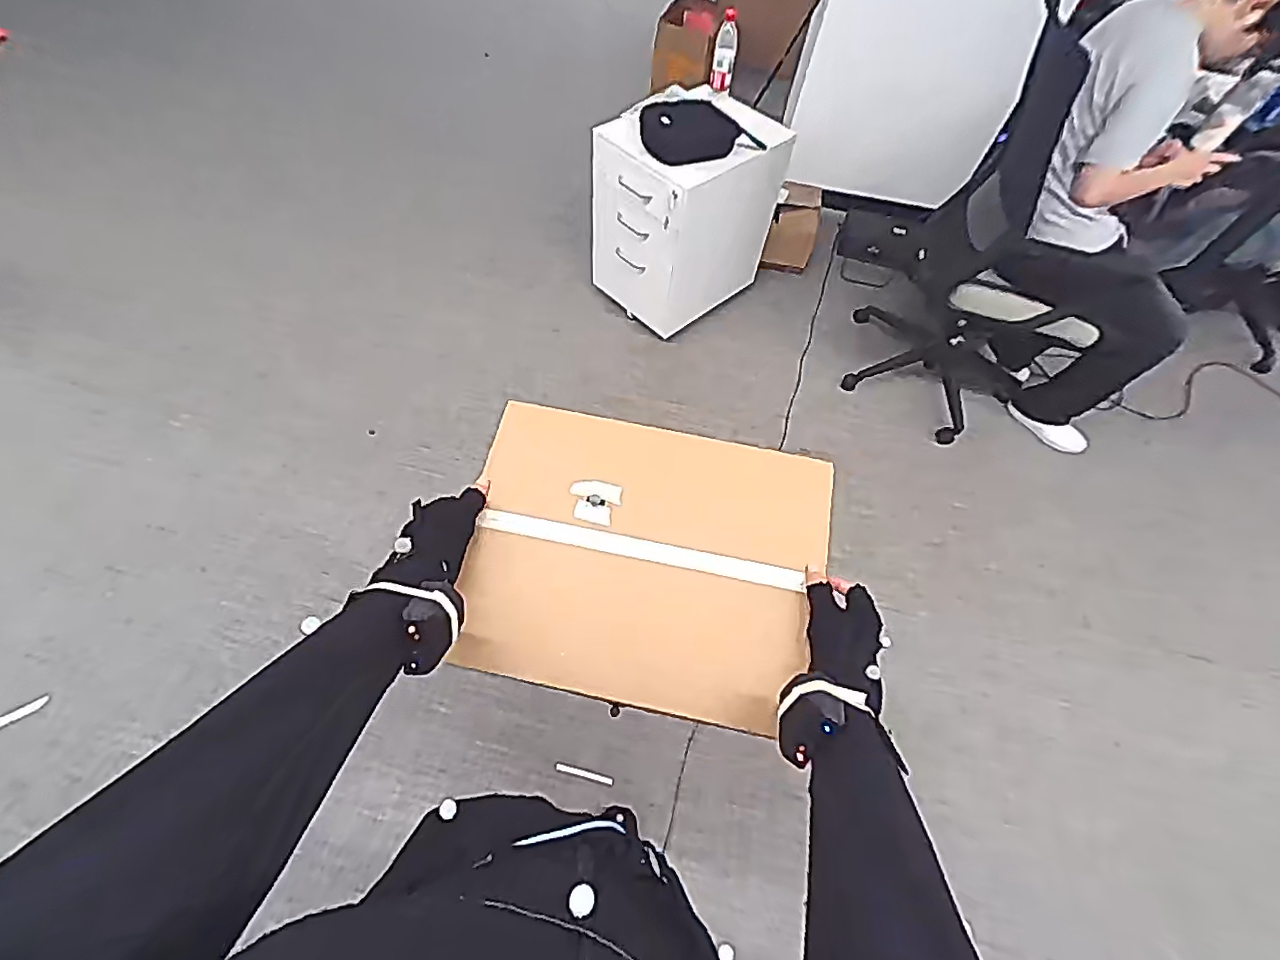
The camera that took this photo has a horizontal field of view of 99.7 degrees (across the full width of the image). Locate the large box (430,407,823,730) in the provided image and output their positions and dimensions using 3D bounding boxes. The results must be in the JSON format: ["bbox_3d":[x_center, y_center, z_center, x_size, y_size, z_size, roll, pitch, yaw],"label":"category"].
[{"bbox_3d":[0.001,0.136,0.751,0.408,0.320,0.320,11,67,5],"label":"large box"}]
